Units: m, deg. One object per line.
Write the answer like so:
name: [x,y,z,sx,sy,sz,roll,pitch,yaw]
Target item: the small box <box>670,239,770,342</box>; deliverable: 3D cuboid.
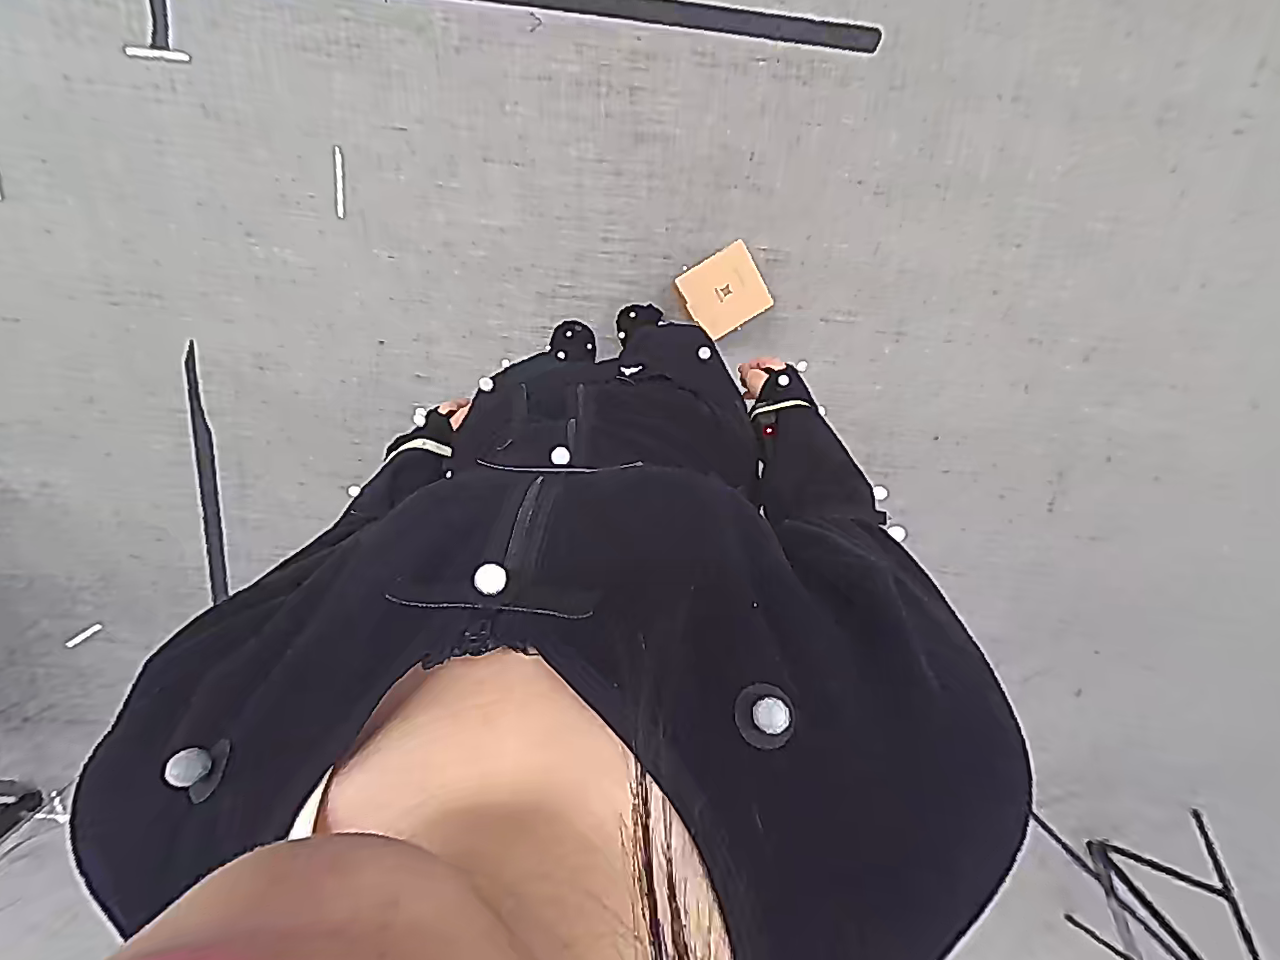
small box: [0.183,-0.449,1.301,0.179,0.176,0.168,-31,106,6]
